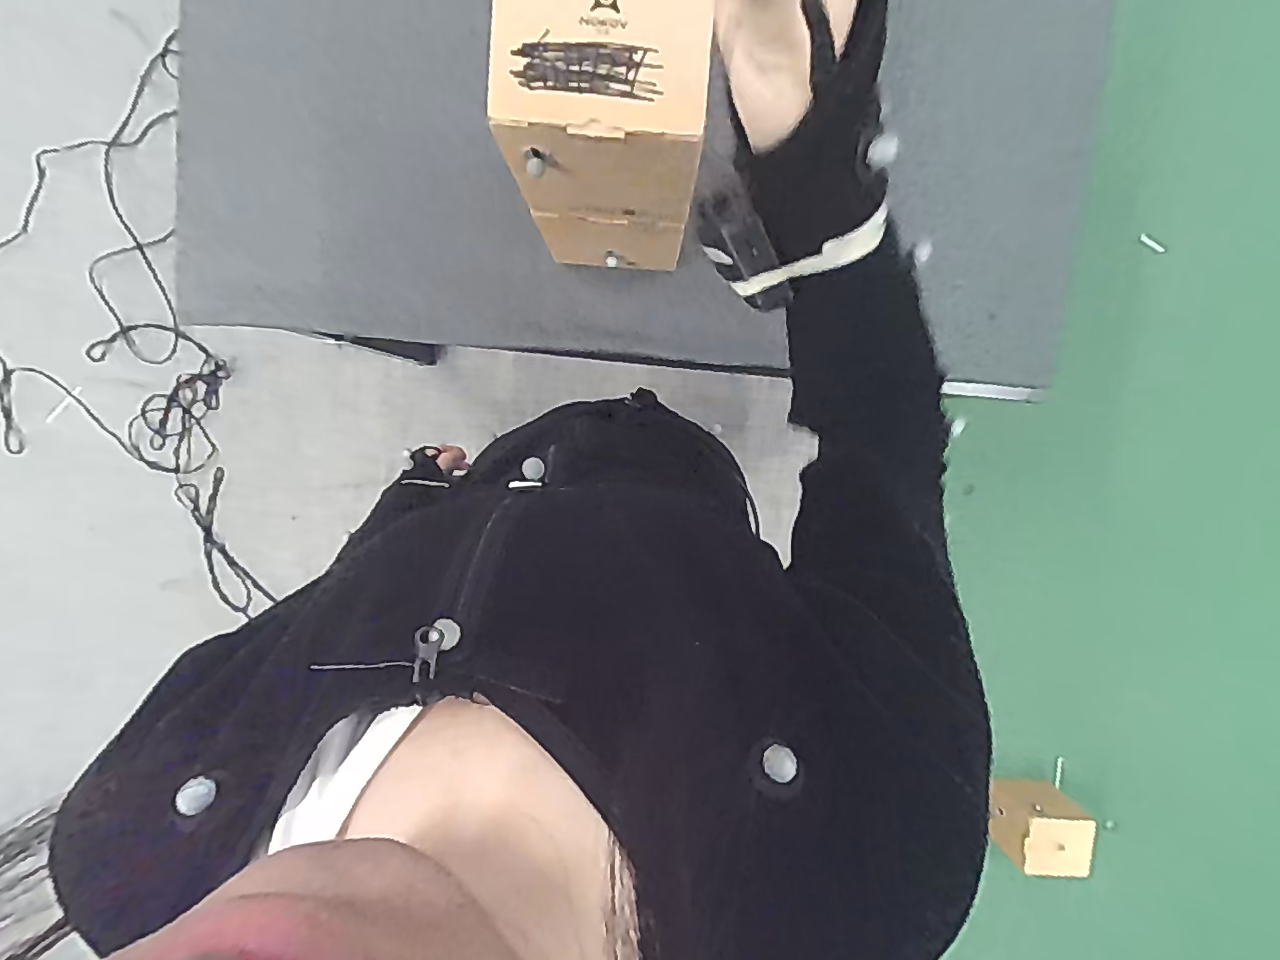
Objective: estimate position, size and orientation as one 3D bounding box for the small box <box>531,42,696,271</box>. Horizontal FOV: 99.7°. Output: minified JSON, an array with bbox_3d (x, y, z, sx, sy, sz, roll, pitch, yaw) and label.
[{"bbox_3d":[-0.030,-0.370,0.649,0.168,0.176,0.179,4,96,-1],"label":"small box"}]

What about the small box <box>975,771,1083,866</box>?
[{"bbox_3d":[1.103,0.959,1.542,0.179,0.176,0.168,2,96,-1],"label":"small box"}]
